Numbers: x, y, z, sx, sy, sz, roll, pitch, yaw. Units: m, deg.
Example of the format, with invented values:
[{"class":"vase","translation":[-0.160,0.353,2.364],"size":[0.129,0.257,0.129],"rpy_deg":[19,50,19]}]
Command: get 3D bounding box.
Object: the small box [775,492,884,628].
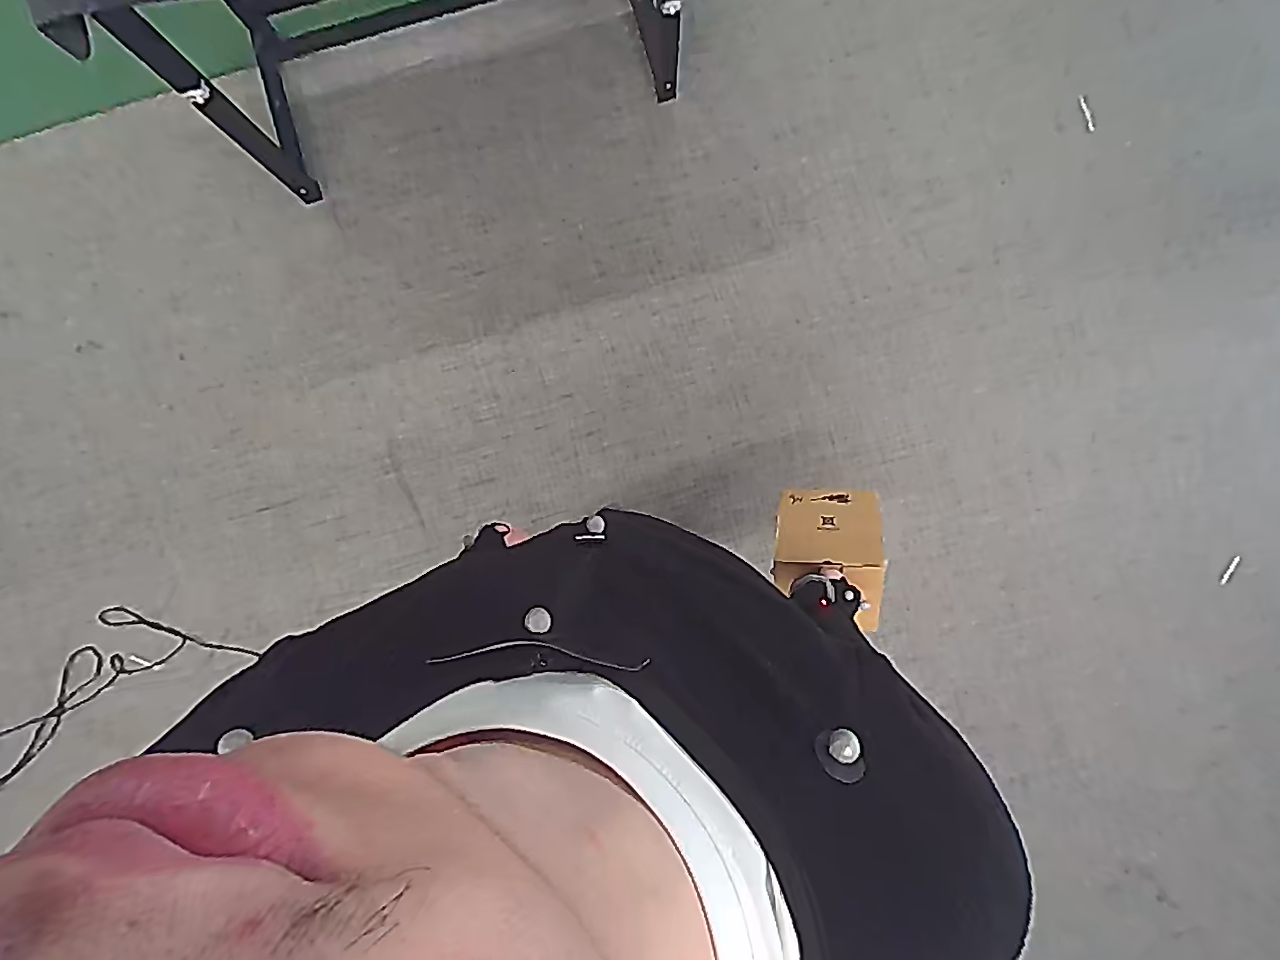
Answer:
[{"class":"small box","translation":[0.333,0.142,0.952],"size":[0.168,0.179,0.176],"rpy_deg":[-2,129,18]}]
